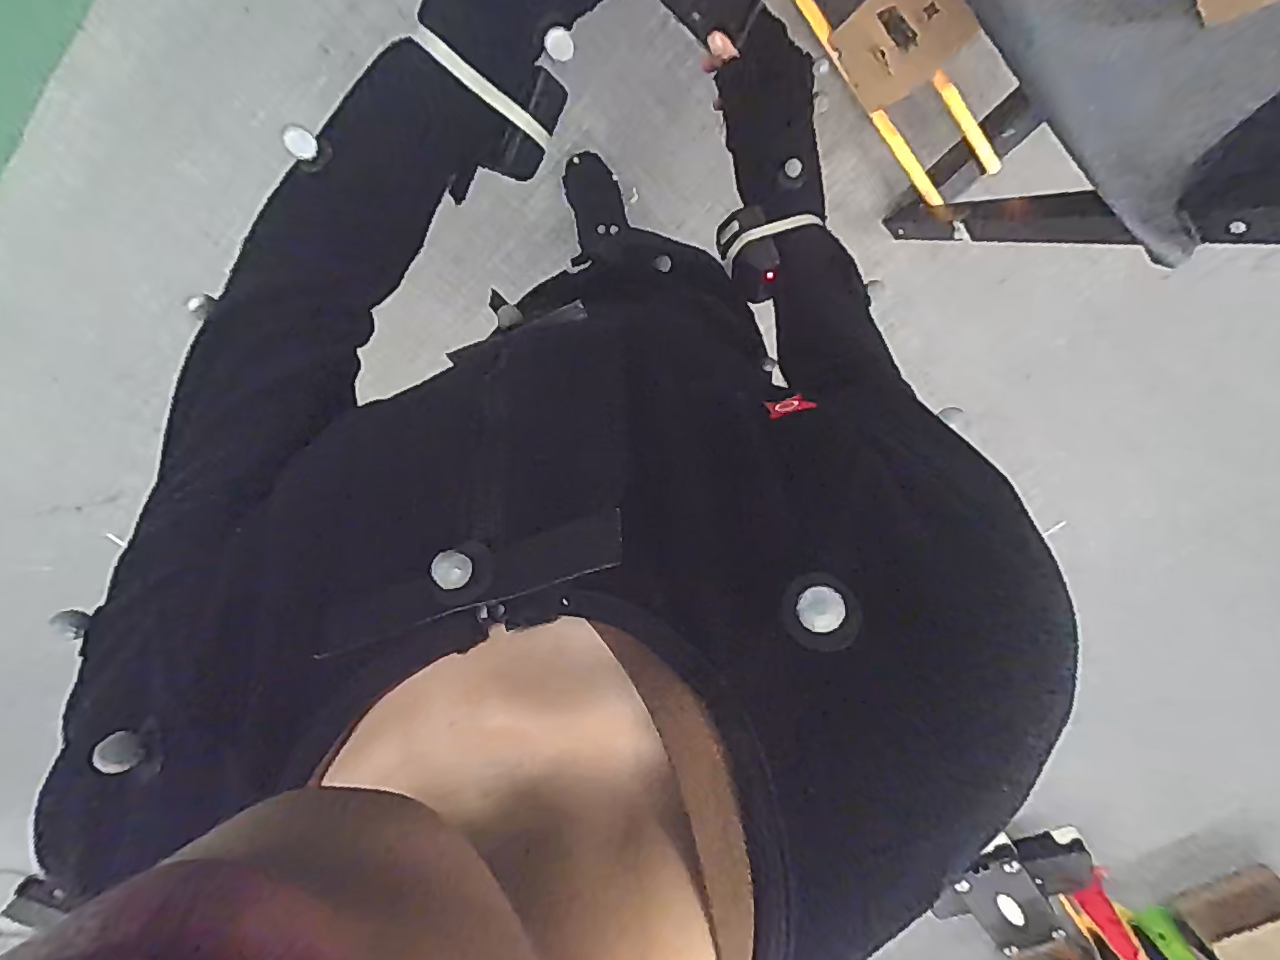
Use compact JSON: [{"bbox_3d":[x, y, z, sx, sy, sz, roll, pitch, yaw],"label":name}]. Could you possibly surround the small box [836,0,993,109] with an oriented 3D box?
[{"bbox_3d":[0.480,-0.819,0.980,0.179,0.176,0.168,-38,110,15],"label":"small box"}]
